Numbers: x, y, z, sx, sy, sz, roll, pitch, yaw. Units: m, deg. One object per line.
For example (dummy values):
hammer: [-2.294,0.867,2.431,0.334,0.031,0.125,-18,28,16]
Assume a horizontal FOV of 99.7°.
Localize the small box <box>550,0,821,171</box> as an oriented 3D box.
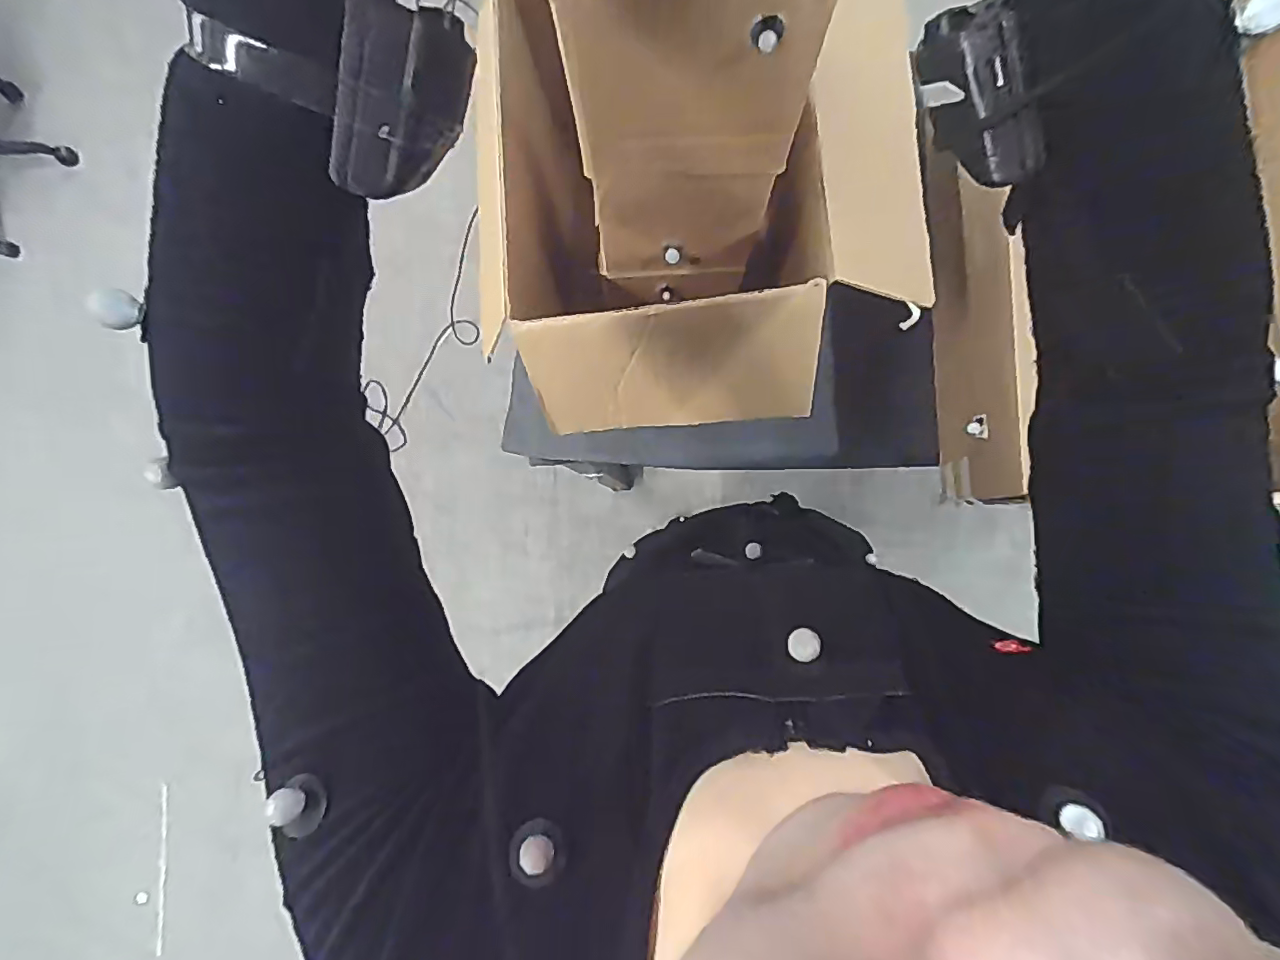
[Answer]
small box: [0.030,-0.360,0.406,0.179,0.176,0.168,-1,84,0]
